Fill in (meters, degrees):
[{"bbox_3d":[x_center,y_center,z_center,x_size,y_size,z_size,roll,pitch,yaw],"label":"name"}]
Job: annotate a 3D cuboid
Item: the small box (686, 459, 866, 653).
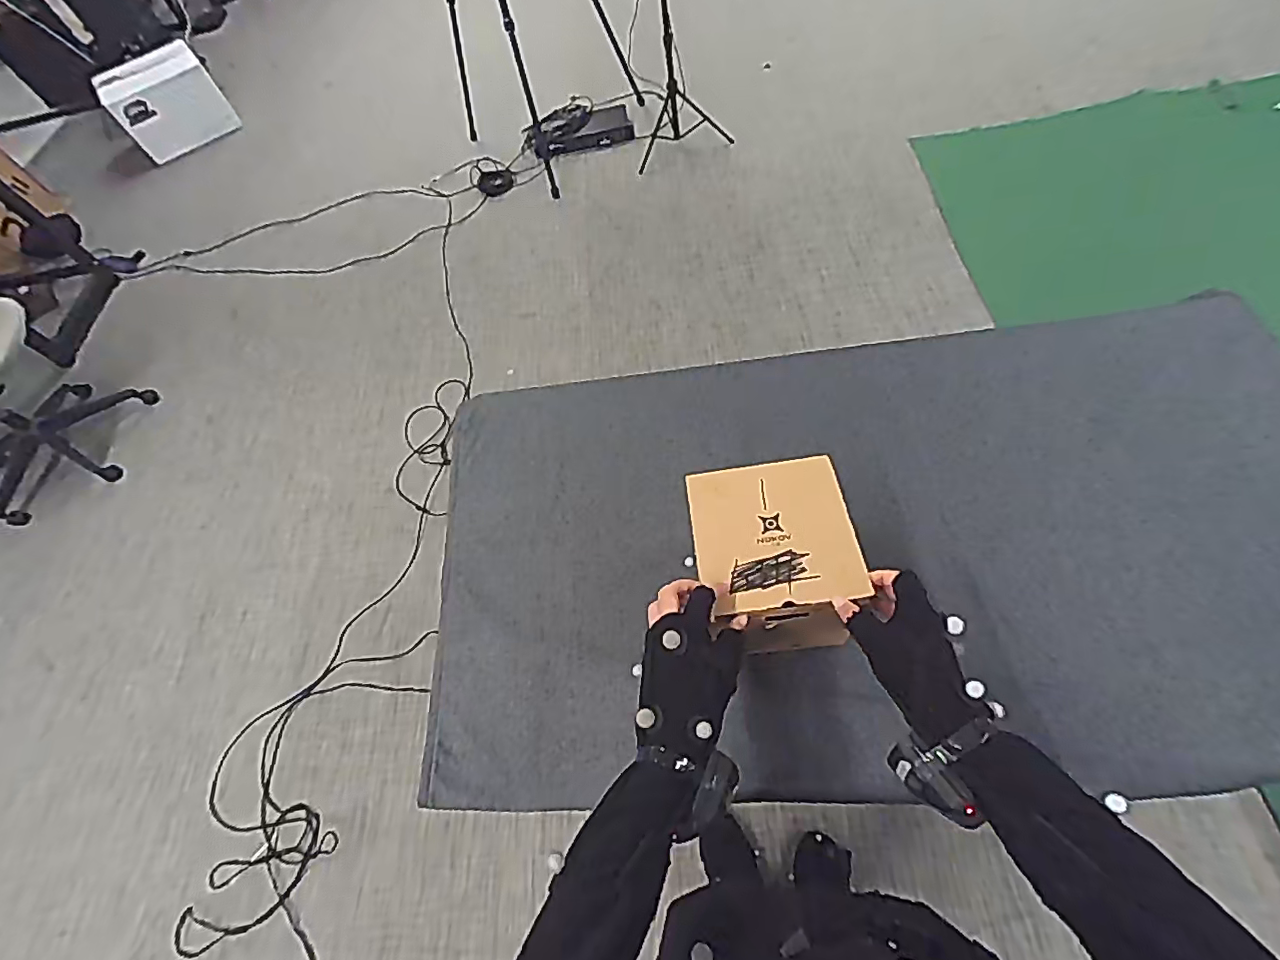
[{"bbox_3d":[0.151,0.101,0.645,0.168,0.176,0.179,-8,58,6],"label":"small box"}]
